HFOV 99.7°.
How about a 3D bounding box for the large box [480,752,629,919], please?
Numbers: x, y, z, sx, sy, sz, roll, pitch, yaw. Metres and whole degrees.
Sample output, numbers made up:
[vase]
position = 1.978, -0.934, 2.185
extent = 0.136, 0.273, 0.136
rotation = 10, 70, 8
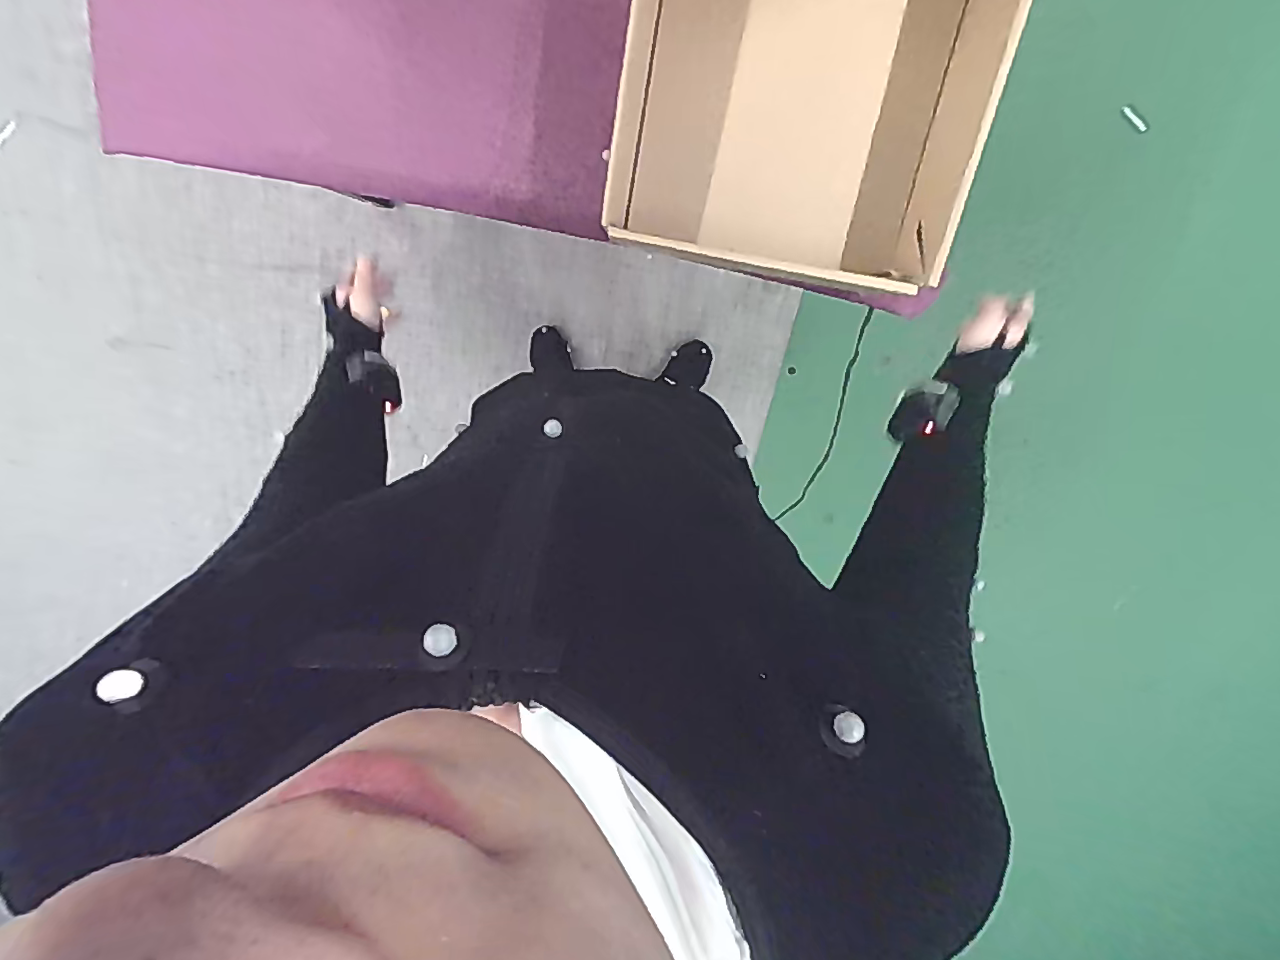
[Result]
[large box]
position = -0.283, 1.242, 1.911
extent = 0.408, 0.320, 0.320
rotation = -21, 106, 7
